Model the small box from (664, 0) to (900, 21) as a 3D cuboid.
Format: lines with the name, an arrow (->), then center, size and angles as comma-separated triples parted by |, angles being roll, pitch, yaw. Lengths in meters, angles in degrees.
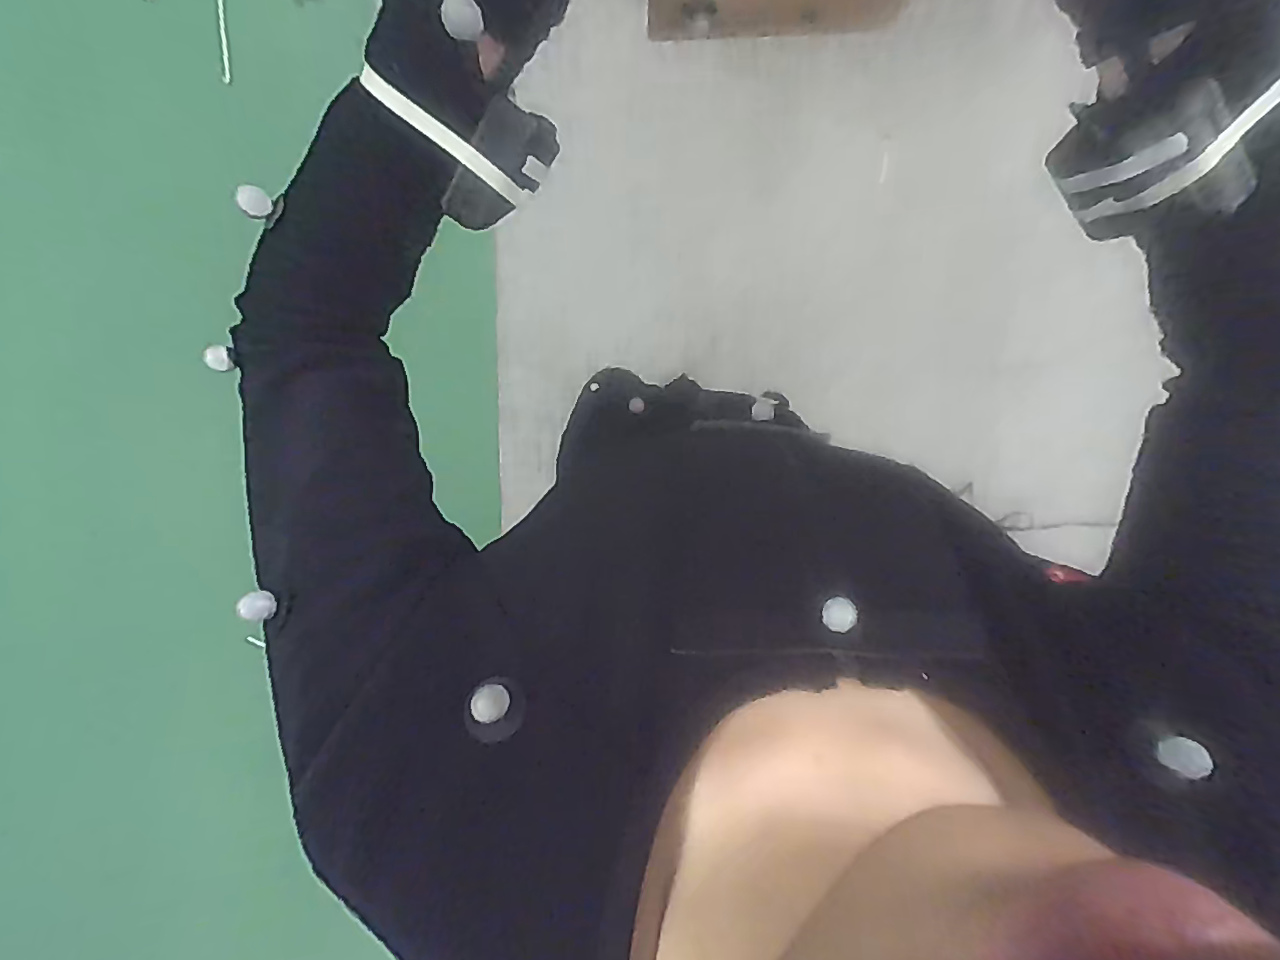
small box -> 0.083, -0.366, 0.260 | 0.168, 0.176, 0.179 | -1, 98, 0
